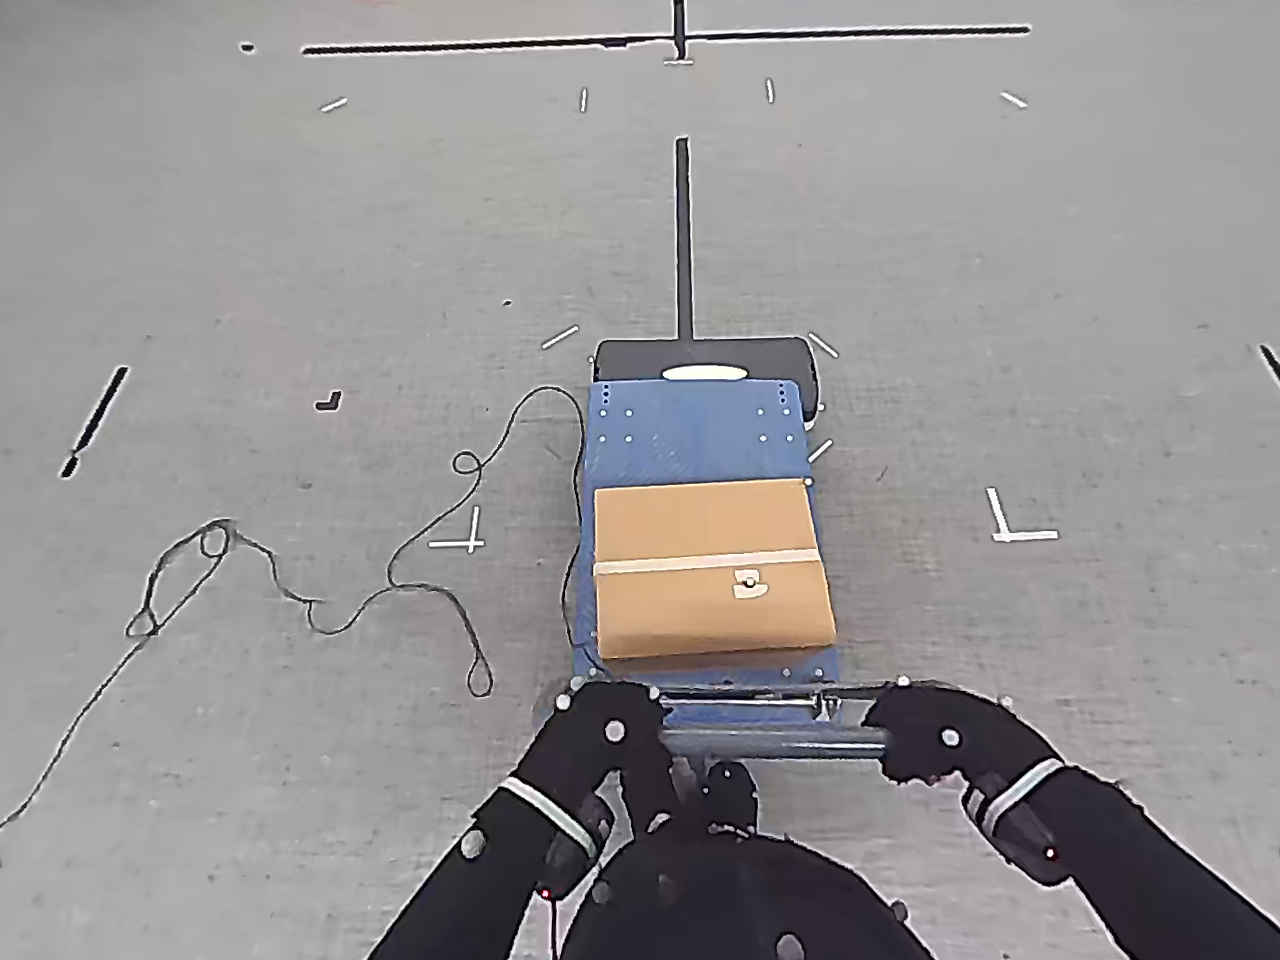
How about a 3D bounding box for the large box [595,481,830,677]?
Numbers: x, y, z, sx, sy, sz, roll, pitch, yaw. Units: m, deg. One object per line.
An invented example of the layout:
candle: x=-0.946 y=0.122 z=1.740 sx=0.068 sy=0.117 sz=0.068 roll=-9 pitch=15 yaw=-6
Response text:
large box: x=0.120 y=0.217 z=1.124 sx=0.408 sy=0.320 sz=0.320 roll=-3 pitch=65 yaw=-2
